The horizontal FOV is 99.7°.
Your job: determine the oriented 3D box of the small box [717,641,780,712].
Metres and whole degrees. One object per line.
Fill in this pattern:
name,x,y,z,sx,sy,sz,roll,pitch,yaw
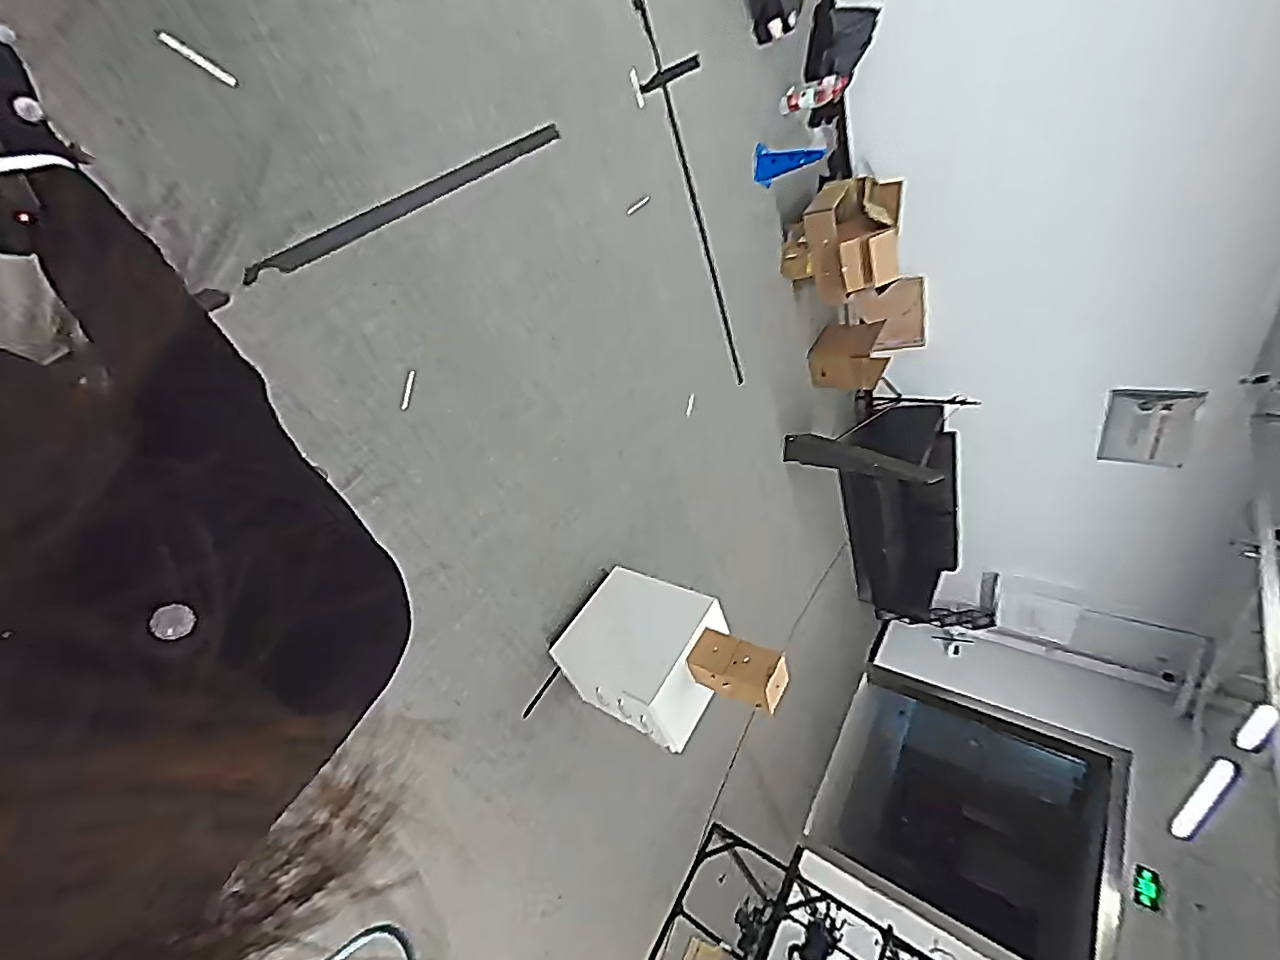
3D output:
small box,0.416,0.745,2.070,0.168,0.176,0.179,-49,134,-35
